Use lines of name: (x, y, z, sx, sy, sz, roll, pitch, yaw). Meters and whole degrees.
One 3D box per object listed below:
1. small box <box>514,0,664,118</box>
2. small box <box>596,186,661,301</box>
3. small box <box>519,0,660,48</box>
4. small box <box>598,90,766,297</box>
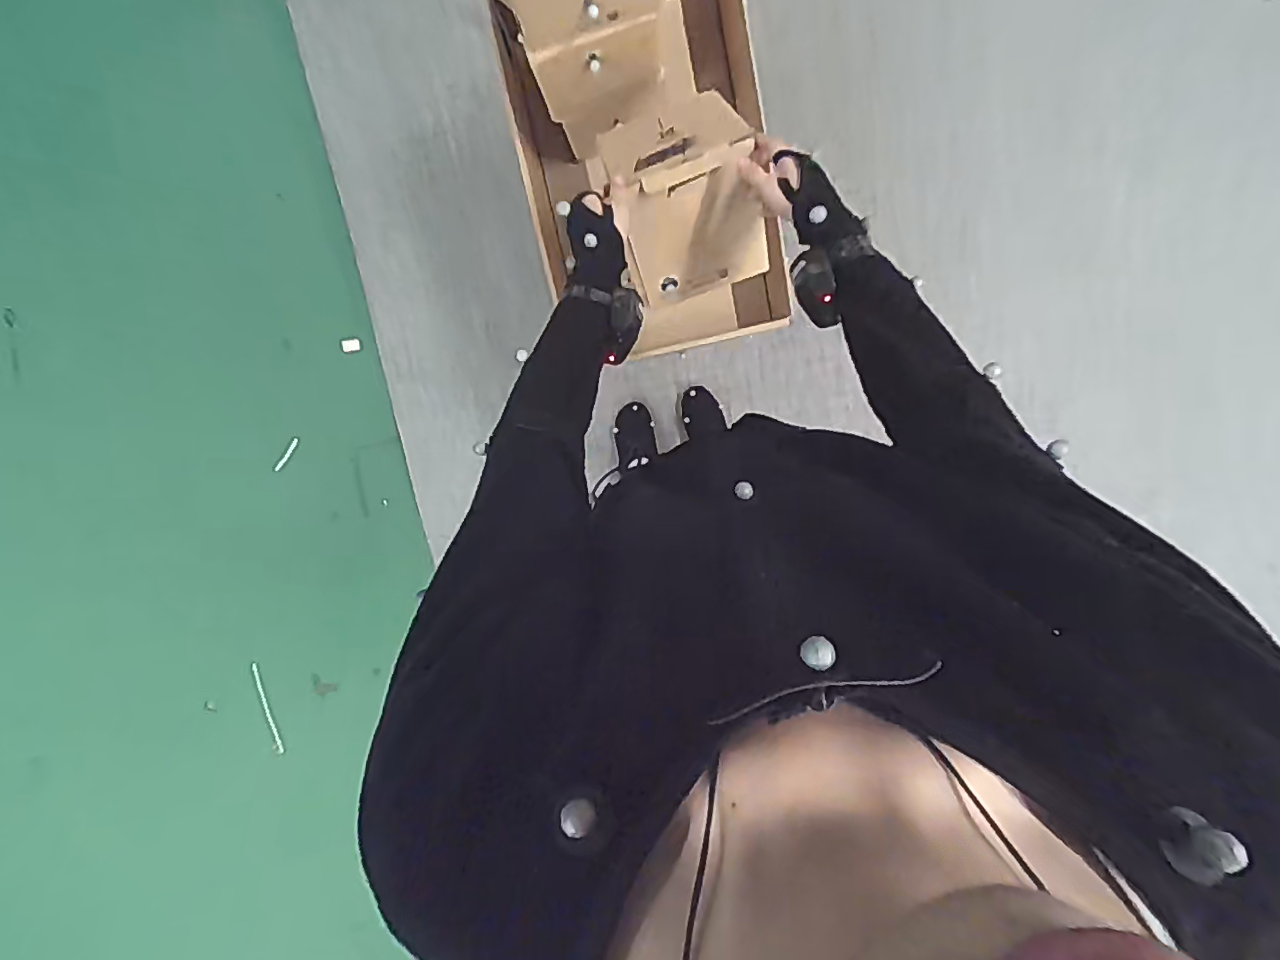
small box: (-0.072, -0.643, 0.742, 0.179, 0.176, 0.168, -16, 100, 7)
small box: (0.041, -0.428, 0.944, 0.168, 0.176, 0.179, -25, 98, 6)
small box: (-0.076, -0.624, 0.578, 0.168, 0.176, 0.179, -14, 100, 7)
small box: (0.057, -0.363, 0.706, 0.168, 0.179, 0.176, -17, 139, 6)
